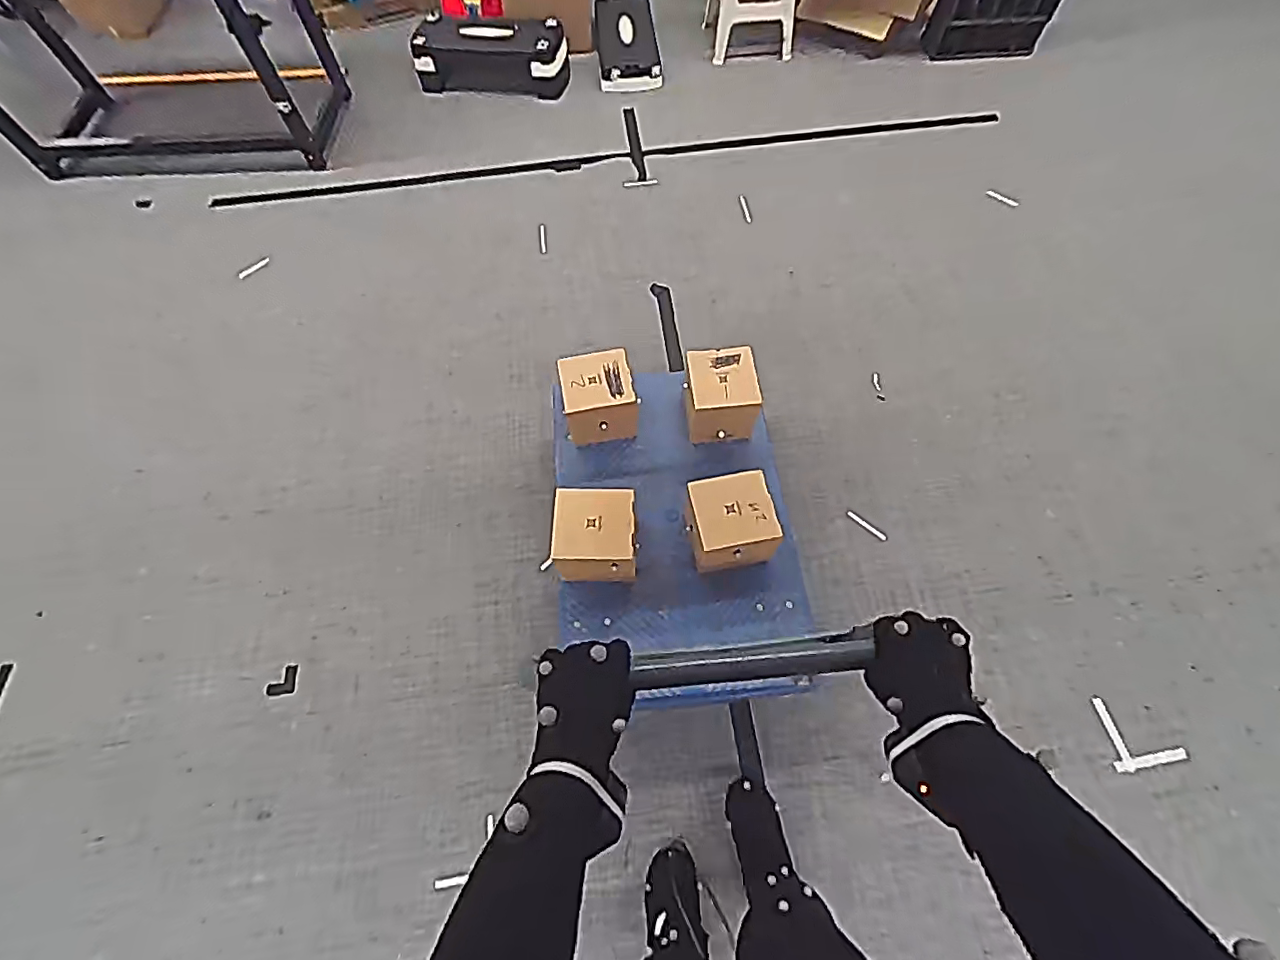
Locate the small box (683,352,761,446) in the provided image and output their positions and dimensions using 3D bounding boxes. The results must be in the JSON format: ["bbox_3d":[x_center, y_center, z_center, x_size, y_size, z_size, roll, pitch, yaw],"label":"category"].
[{"bbox_3d":[0.206,-0.208,1.406,0.168,0.176,0.179,-5,65,-1],"label":"small box"}]

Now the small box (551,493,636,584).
[{"bbox_3d":[-0.100,0.139,1.243,0.179,0.176,0.168,0,64,0],"label":"small box"}]

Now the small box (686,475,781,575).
[{"bbox_3d":[0.205,0.109,1.251,0.179,0.176,0.168,-10,64,-3],"label":"small box"}]
